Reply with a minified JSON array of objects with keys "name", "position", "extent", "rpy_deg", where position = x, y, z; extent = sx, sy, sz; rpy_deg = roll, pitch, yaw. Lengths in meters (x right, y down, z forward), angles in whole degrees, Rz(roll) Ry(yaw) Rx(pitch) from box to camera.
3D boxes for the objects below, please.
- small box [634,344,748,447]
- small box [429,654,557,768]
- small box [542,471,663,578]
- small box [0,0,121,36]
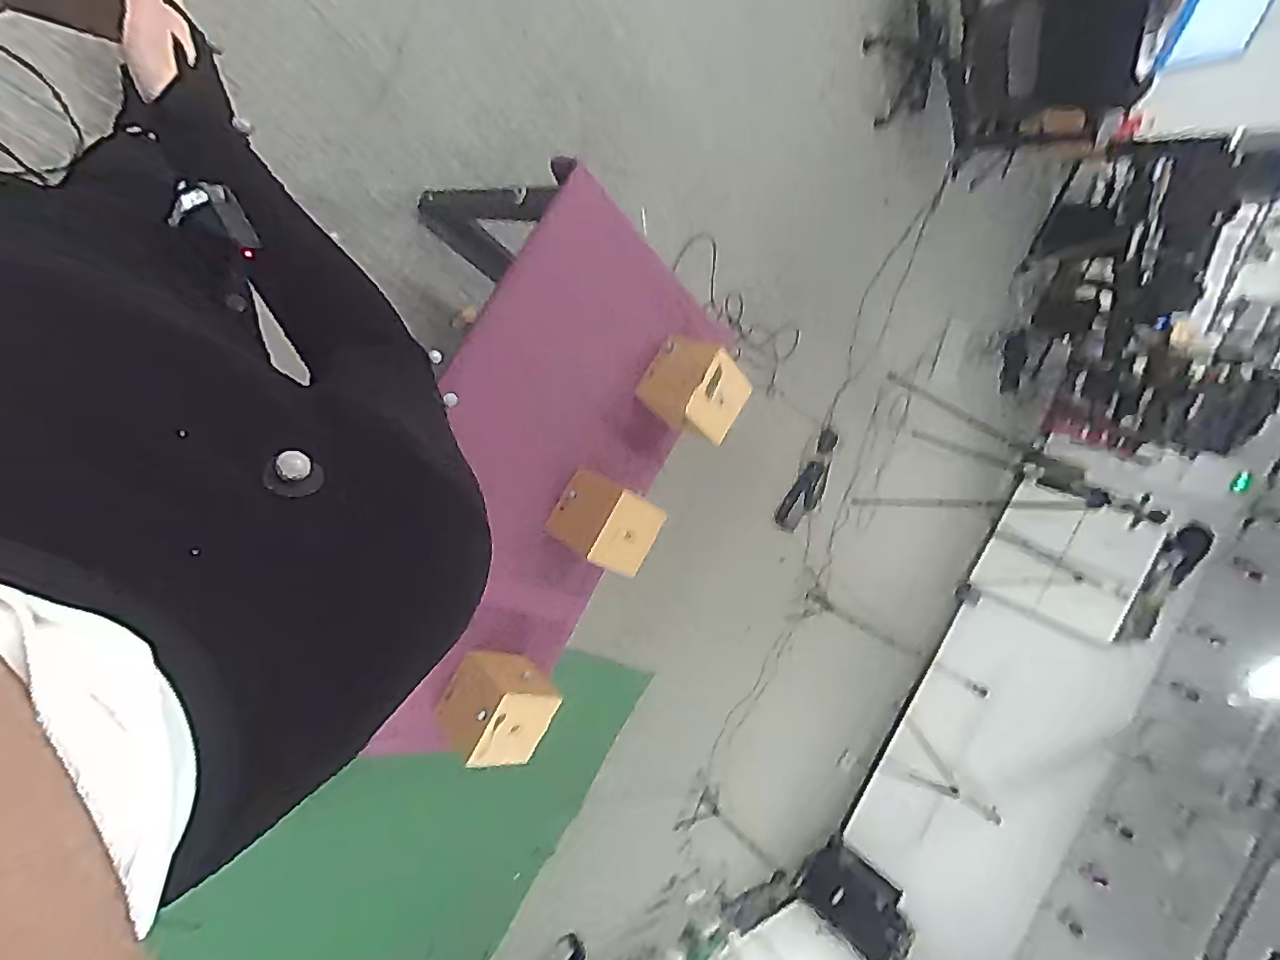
[{"name":"small box","position":[0.118,-0.205,1.277],"extent":[0.179,0.176,0.168],"rpy_deg":[37,84,-48]},{"name":"small box","position":[-0.326,0.505,1.197],"extent":[0.179,0.176,0.168],"rpy_deg":[32,85,-49]},{"name":"small box","position":[-0.086,0.099,1.233],"extent":[0.179,0.176,0.168],"rpy_deg":[34,84,-48]},{"name":"small box","position":[-0.490,-0.467,0.378],"extent":[0.168,0.176,0.179],"rpy_deg":[-6,111,-39]}]
